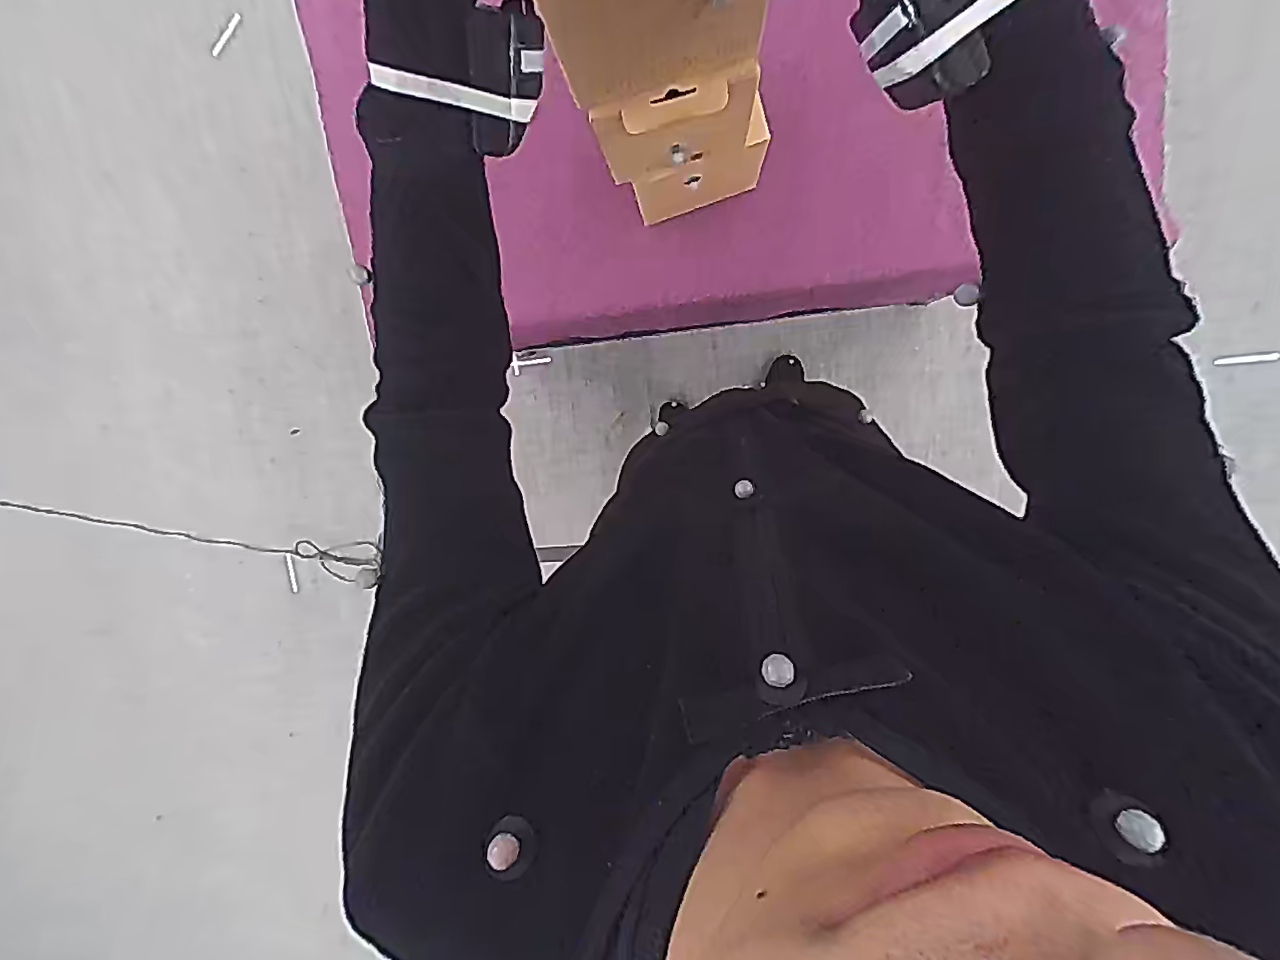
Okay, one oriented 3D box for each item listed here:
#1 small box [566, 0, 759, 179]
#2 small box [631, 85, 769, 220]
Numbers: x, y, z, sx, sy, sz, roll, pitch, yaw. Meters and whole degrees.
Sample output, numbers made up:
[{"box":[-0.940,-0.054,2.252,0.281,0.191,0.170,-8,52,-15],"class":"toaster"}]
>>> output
[{"box":[0.021,-0.455,0.569,0.168,0.176,0.179,-11,98,8],"class":"small box"},{"box":[0.059,-0.478,0.729,0.179,0.176,0.168,-16,98,8],"class":"small box"}]
